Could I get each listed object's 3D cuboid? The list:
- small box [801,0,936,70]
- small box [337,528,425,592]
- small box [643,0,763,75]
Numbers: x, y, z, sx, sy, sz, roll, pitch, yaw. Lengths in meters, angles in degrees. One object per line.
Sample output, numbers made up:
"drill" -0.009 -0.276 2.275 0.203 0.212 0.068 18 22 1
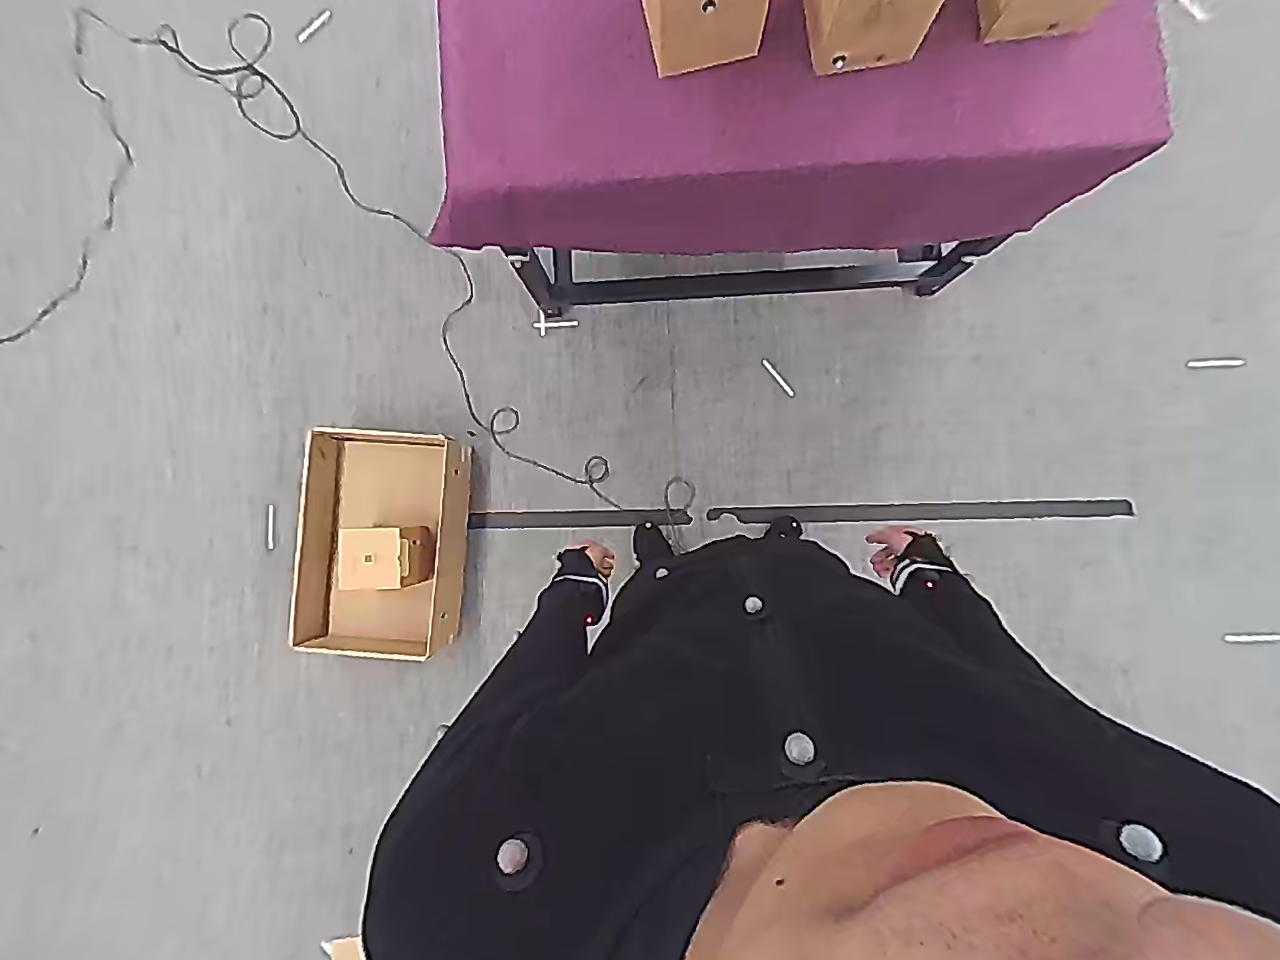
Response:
"small box" 0.361 -0.785 0.847 0.168 0.176 0.179 -8 86 2
"small box" -0.722 0.221 1.525 0.179 0.176 0.168 -2 86 2
"small box" 0.095 -0.789 0.856 0.179 0.176 0.168 -12 88 1
